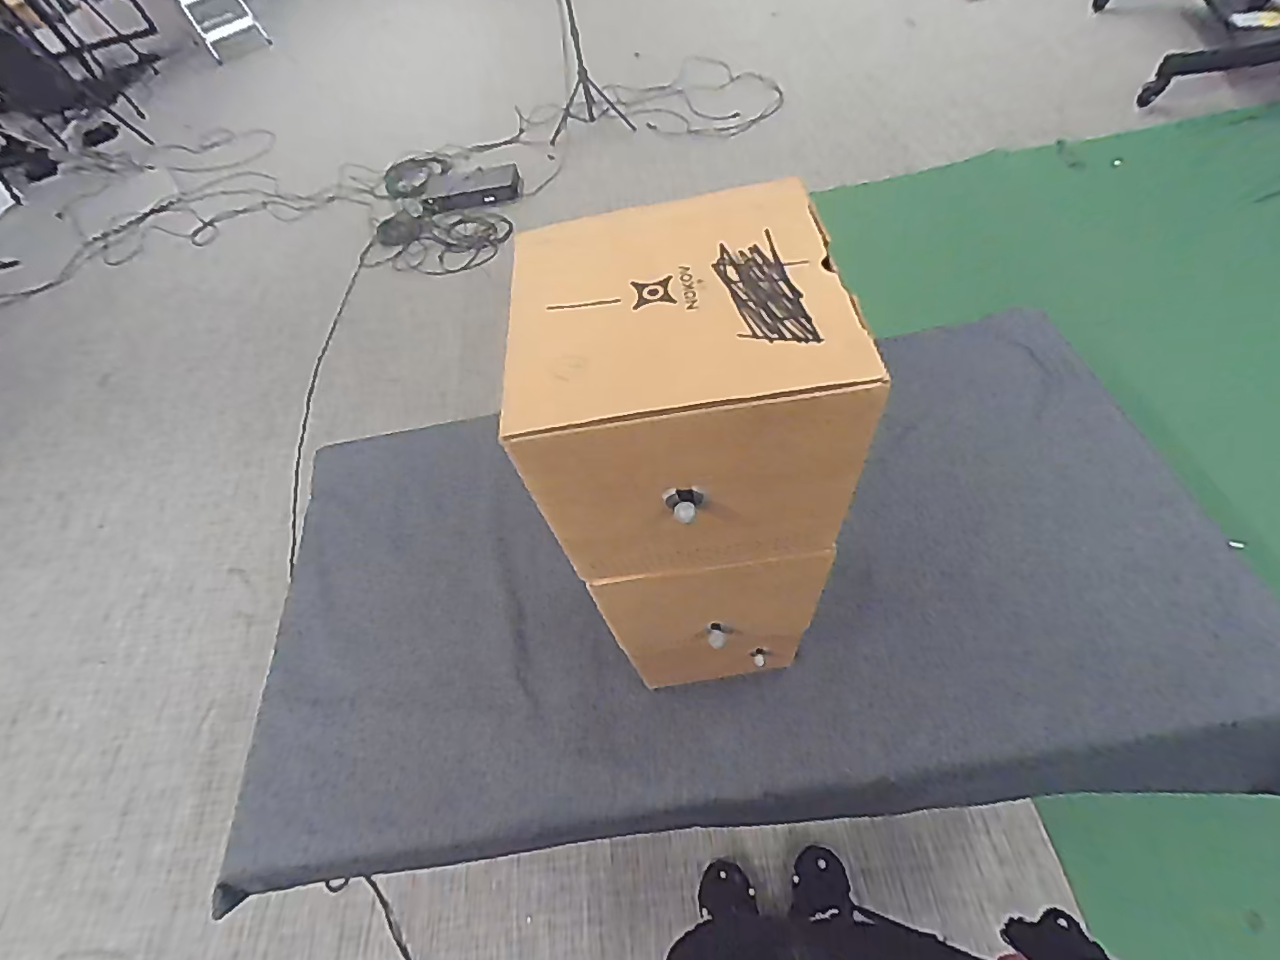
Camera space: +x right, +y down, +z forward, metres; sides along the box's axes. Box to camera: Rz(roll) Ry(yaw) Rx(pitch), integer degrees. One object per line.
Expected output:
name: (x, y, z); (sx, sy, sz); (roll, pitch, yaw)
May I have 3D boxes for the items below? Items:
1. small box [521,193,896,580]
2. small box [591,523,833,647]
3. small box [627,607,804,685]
small box: (0.030, -0.051, 0.356); (0.179, 0.176, 0.168); (-10, 56, 1)
small box: (0.052, 0.040, 0.492); (0.179, 0.176, 0.168); (-9, 56, 3)
small box: (0.074, 0.126, 0.629); (0.179, 0.176, 0.168); (-12, 55, 3)
